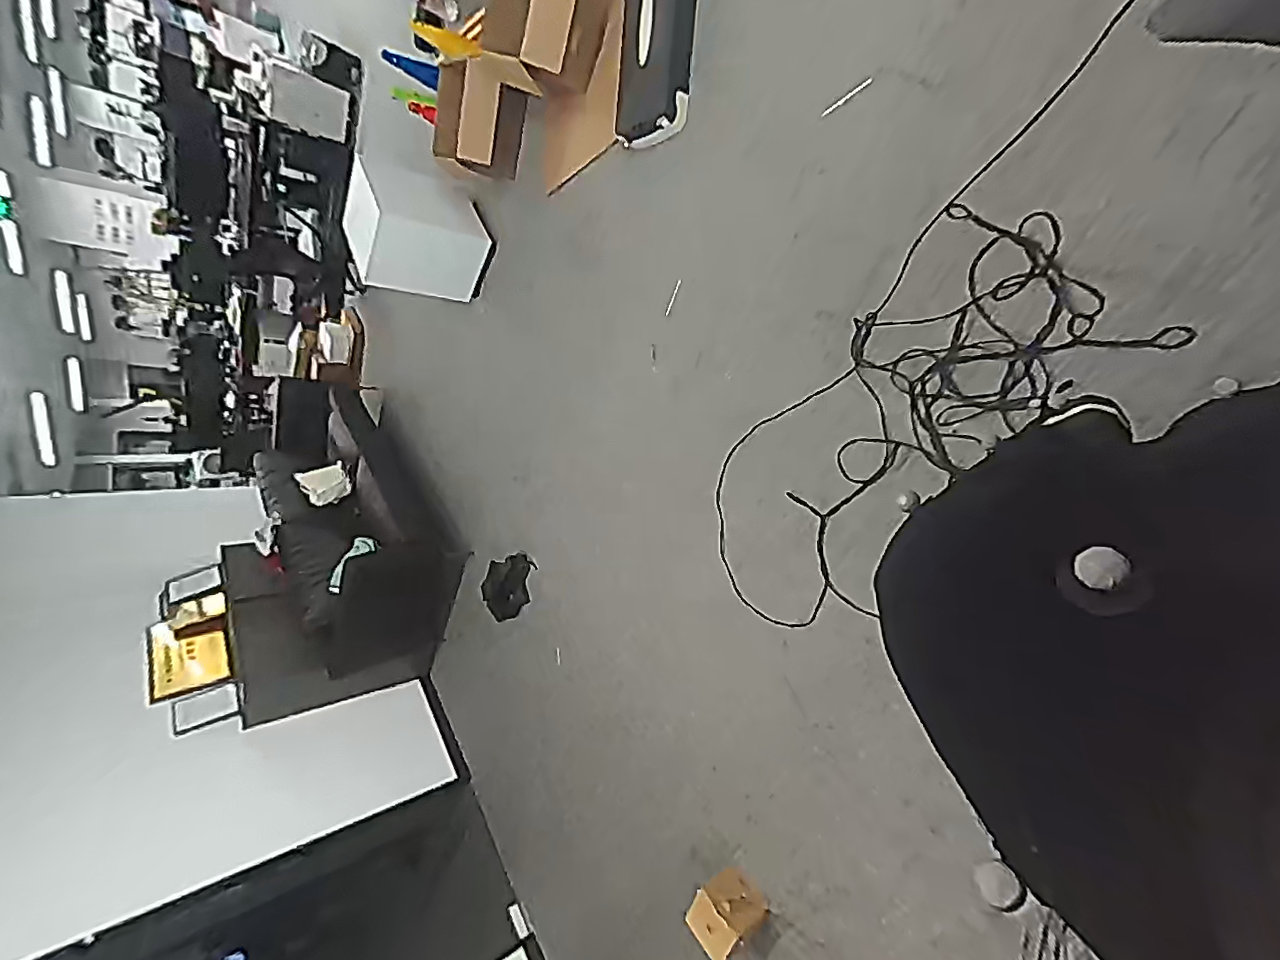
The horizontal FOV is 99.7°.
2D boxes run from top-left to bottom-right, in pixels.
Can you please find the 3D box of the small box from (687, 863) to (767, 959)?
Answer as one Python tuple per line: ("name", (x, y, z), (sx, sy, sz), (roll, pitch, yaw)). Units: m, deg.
("small box", (0.286, 1.413, 1.767), (0.168, 0.176, 0.179), (37, 118, 41))
